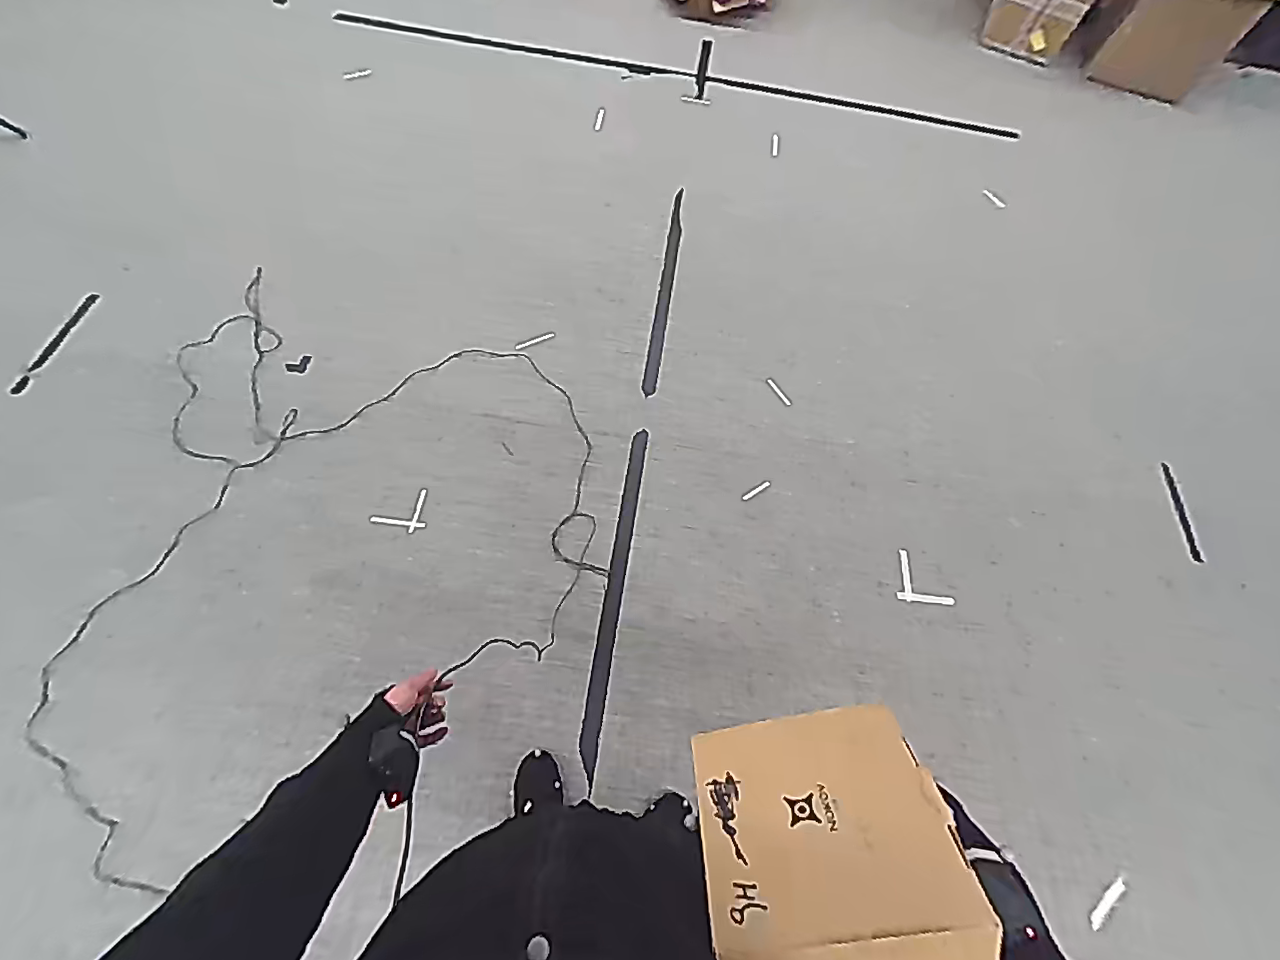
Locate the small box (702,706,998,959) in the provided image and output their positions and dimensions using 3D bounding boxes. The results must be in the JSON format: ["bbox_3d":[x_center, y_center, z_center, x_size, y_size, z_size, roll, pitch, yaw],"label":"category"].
[{"bbox_3d":[0.157,0.324,0.449,0.179,0.176,0.168,-12,25,6],"label":"small box"}]
